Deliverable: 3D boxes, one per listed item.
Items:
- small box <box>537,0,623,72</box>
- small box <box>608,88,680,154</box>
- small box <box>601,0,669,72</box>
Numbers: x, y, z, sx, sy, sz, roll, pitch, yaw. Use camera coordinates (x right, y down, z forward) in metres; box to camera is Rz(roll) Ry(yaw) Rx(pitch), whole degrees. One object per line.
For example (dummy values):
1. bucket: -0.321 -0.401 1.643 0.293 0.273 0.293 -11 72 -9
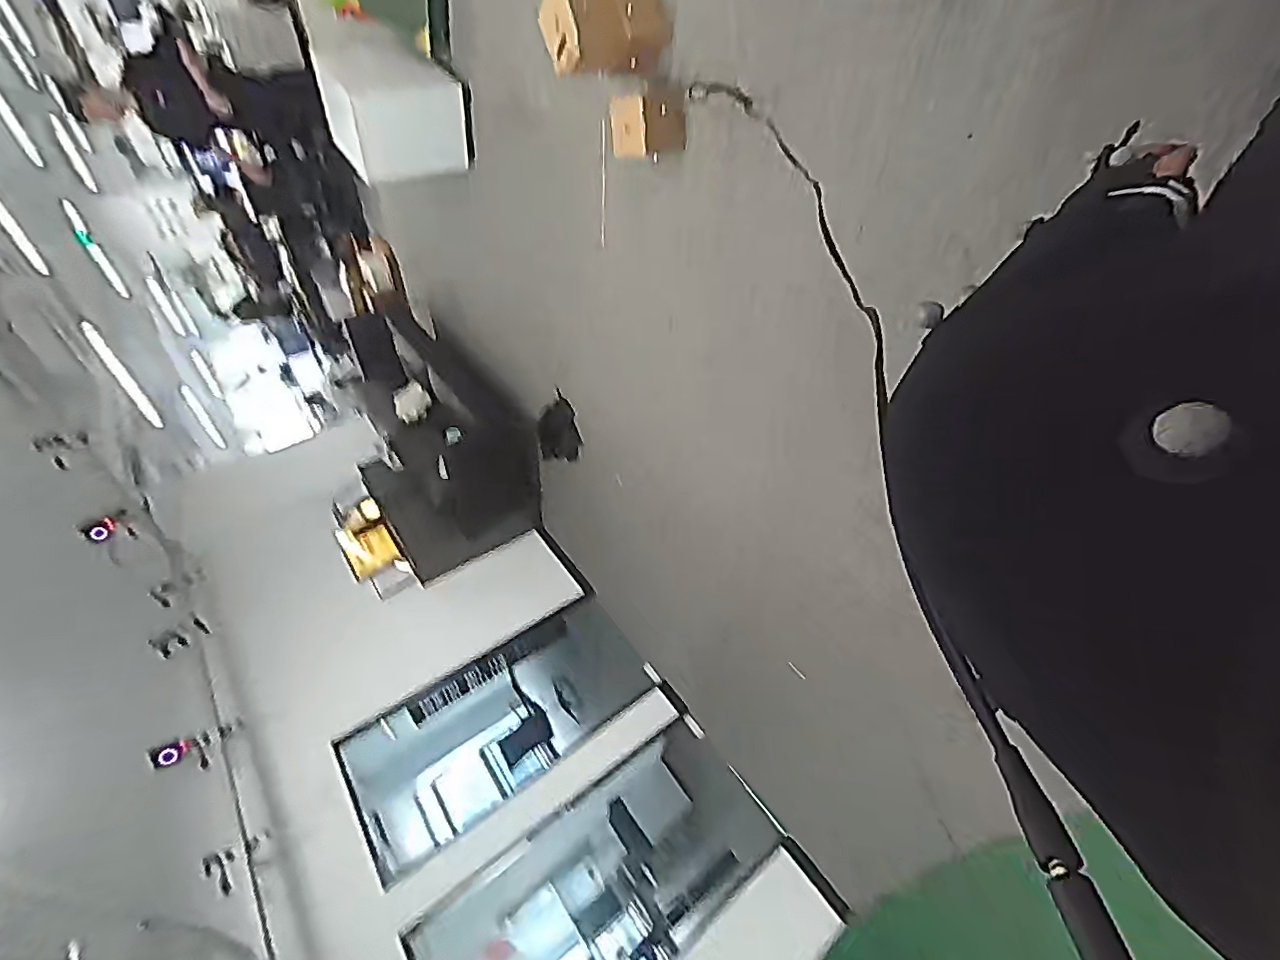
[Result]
1. small box: -0.174 -1.345 1.589 0.168 0.176 0.179 -1 111 58
2. small box: 0.019 -1.172 1.767 0.179 0.176 0.168 34 139 44
3. small box: -0.038 -1.400 1.666 0.179 0.176 0.168 -10 104 61
